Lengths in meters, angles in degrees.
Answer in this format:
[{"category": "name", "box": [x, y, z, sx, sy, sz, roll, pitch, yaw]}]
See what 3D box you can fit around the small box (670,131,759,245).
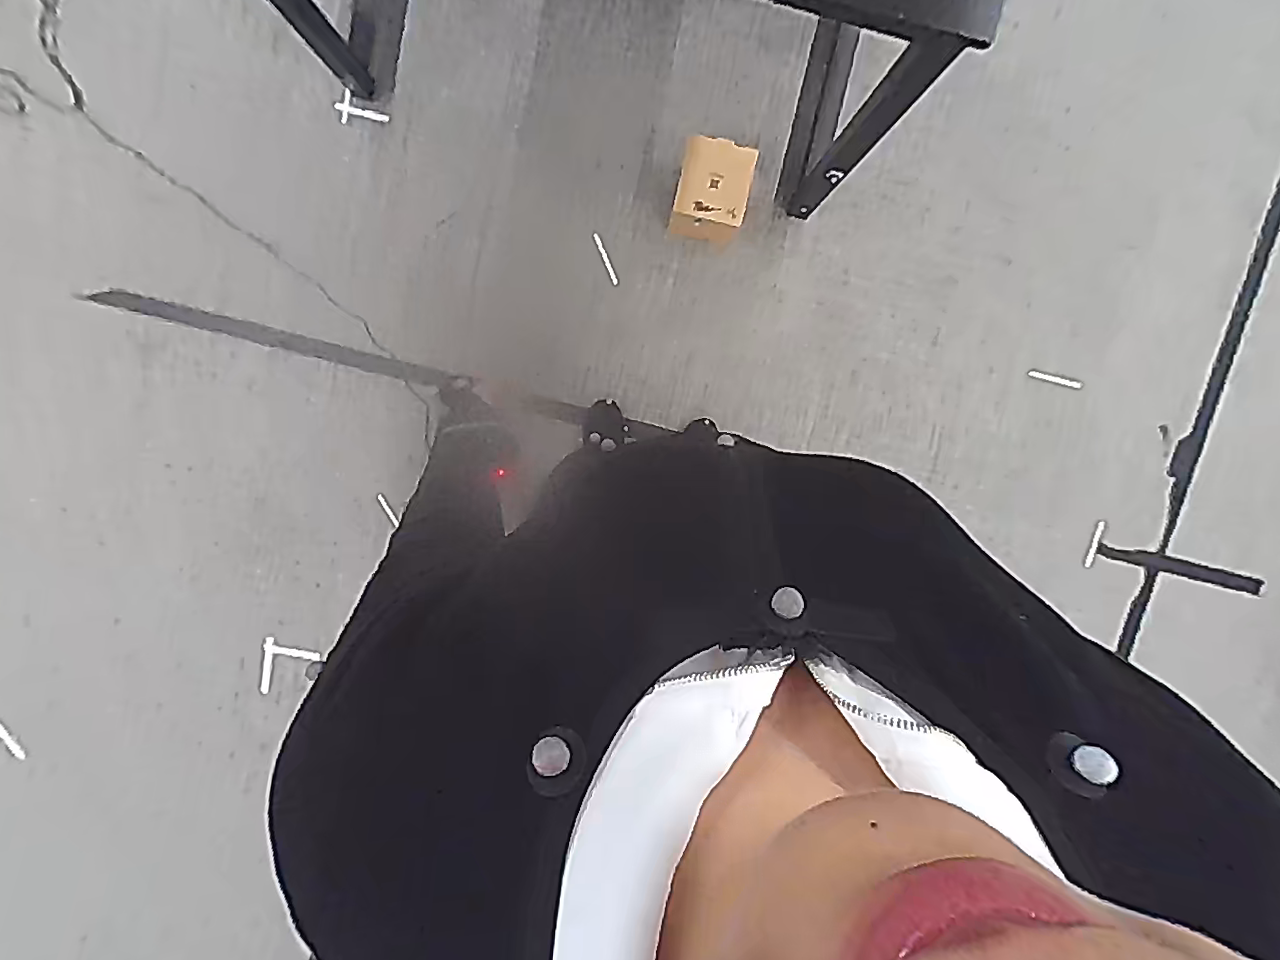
[{"category": "small box", "box": [0.174, -0.703, 1.322, 0.168, 0.176, 0.179, 13, 97, -2]}]
